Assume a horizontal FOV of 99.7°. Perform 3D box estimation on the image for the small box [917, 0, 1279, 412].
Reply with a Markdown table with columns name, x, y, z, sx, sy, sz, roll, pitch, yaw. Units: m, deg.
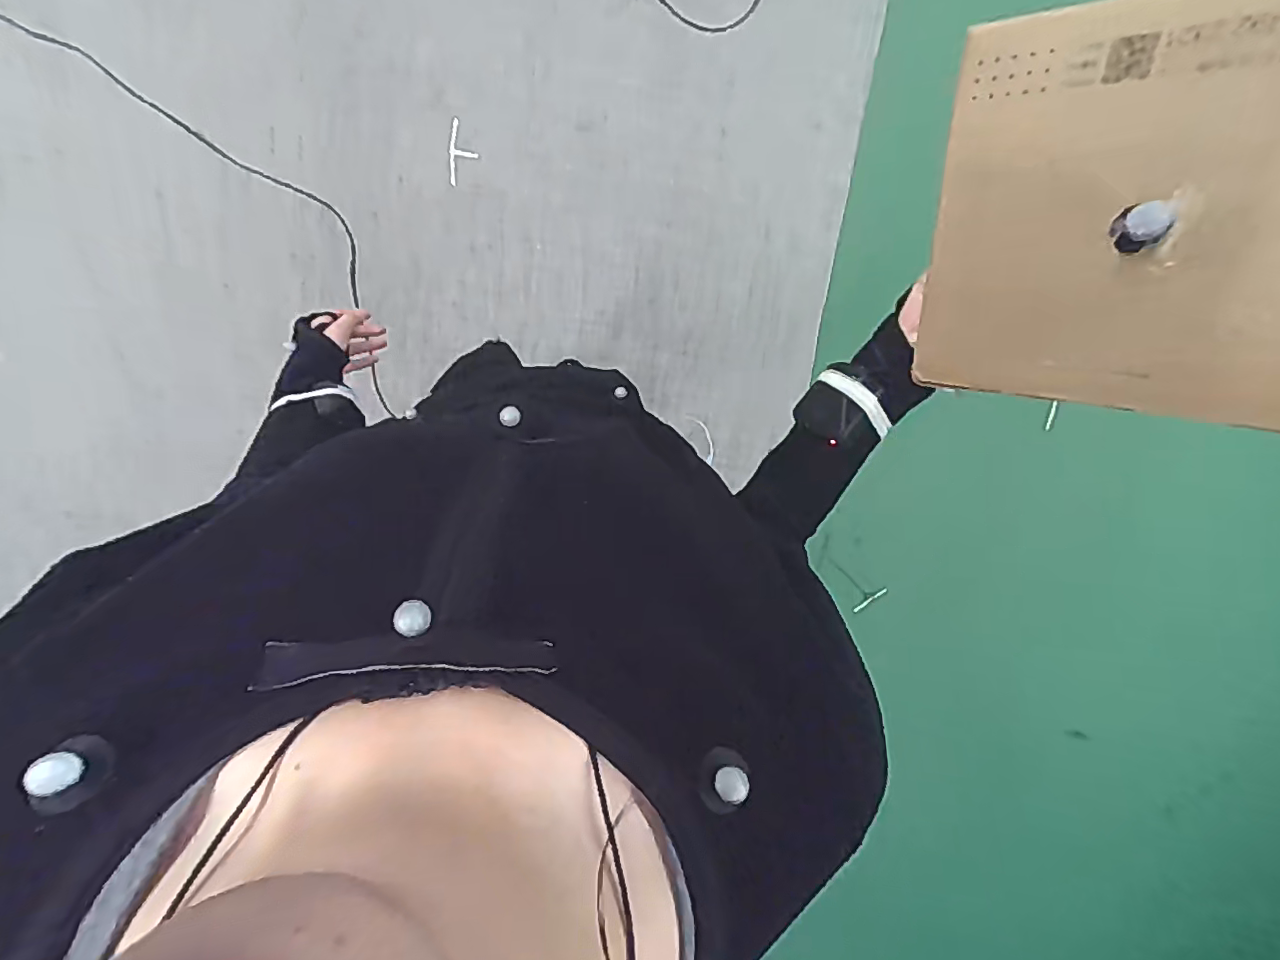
| name | x | y | z | sx | sy | sz | roll | pitch | yaw |
| --- | --- | --- | --- | --- | --- | --- | --- | --- | --- |
| small box | 0.263 | -0.157 | 0.282 | 0.179 | 0.168 | 0.176 | -41 | 135 | -38 |
